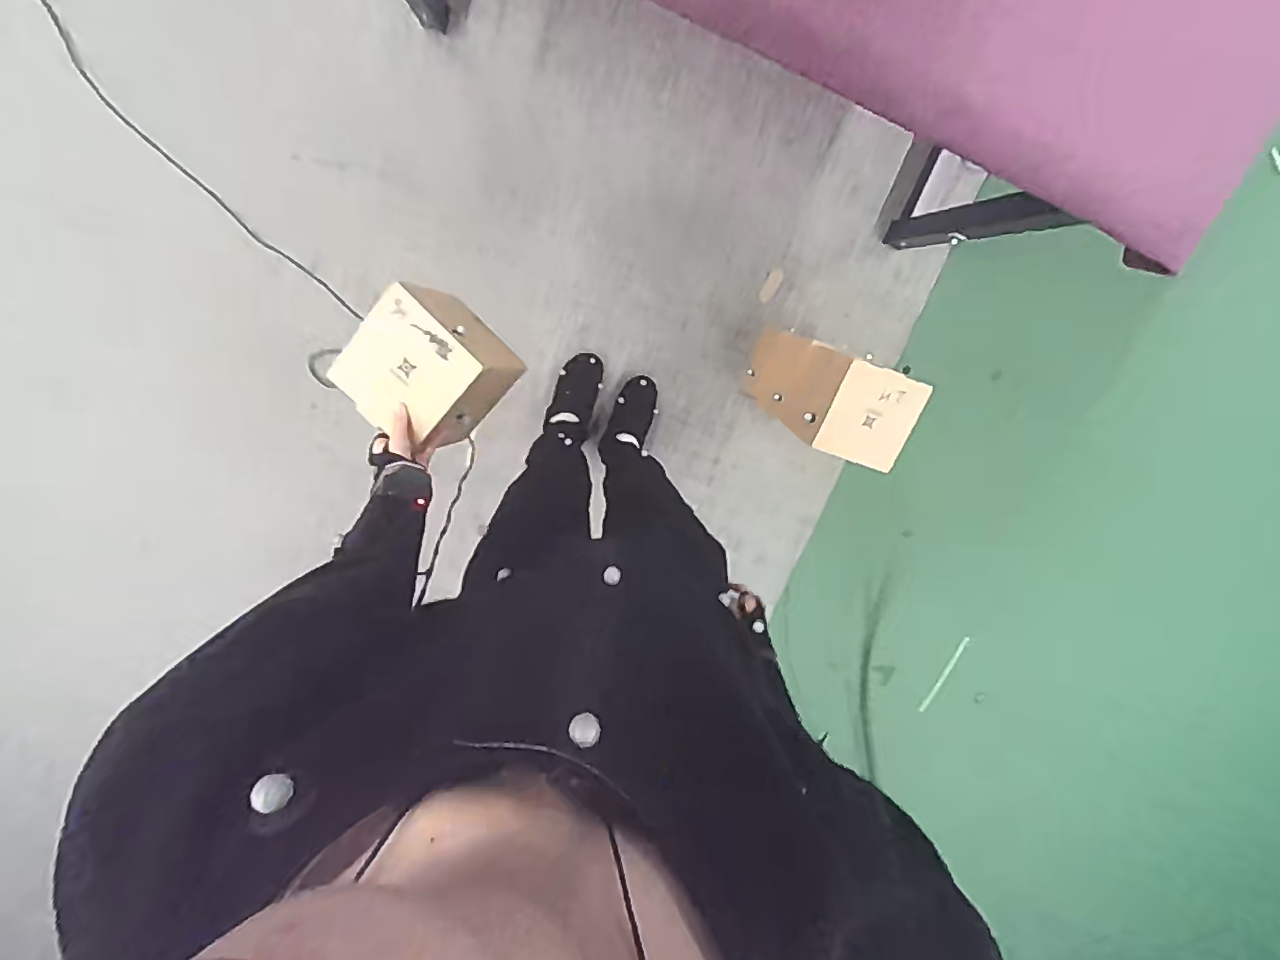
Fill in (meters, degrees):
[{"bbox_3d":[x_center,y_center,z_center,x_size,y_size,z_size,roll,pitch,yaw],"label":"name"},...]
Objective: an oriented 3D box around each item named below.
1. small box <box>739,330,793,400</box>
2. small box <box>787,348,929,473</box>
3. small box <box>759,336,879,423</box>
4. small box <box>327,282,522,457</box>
[{"bbox_3d":[0.367,-0.265,1.345,0.179,0.176,0.168,19,107,-11],"label":"small box"},{"bbox_3d":[0.405,-0.140,1.046,0.168,0.176,0.179,17,108,-10],"label":"small box"},{"bbox_3d":[0.384,-0.208,1.195,0.168,0.176,0.179,17,109,-10],"label":"small box"},{"bbox_3d":[-0.307,-0.161,0.806,0.168,0.176,0.179,45,105,-3],"label":"small box"}]
